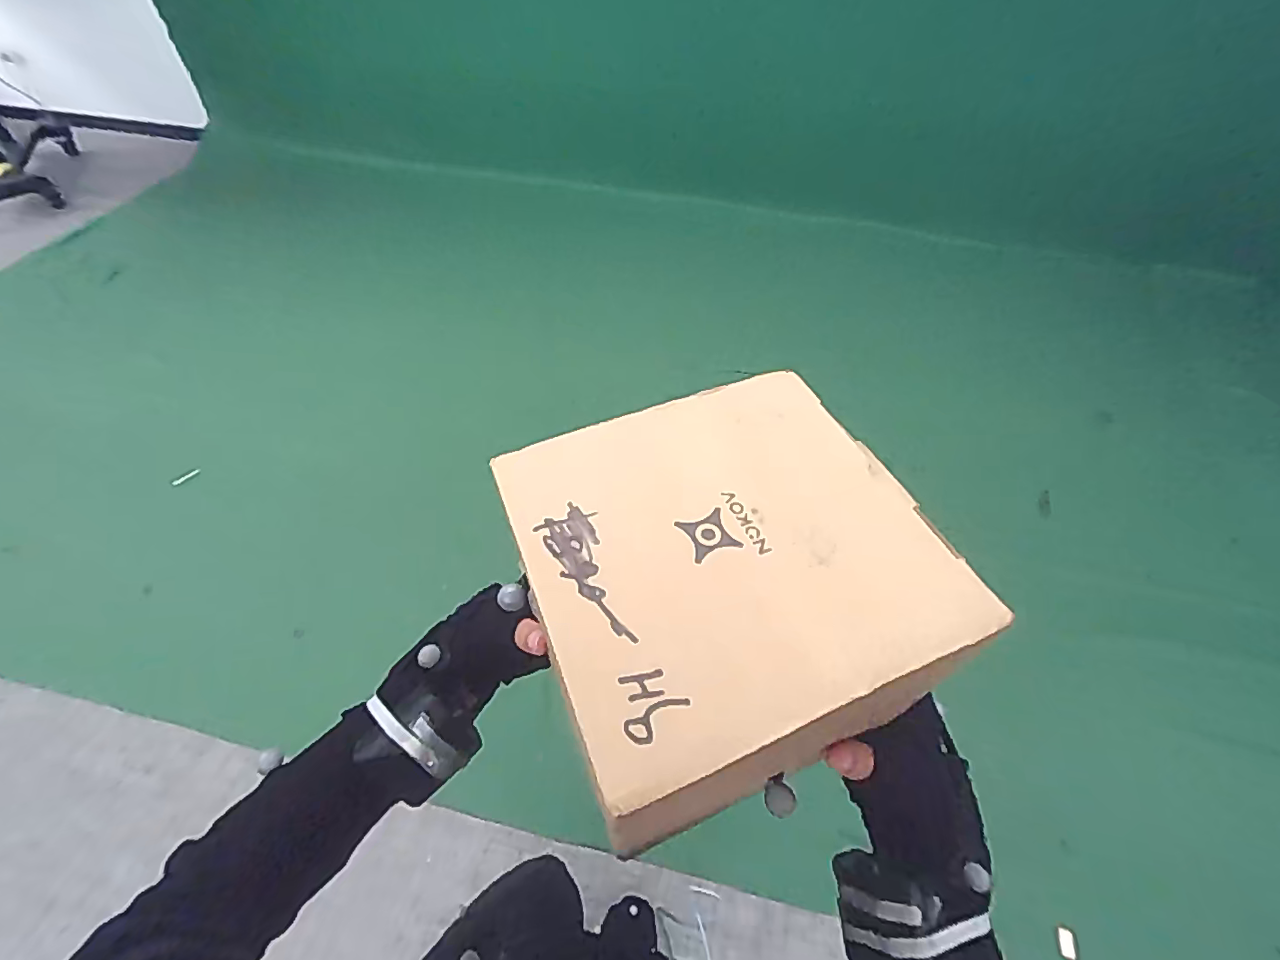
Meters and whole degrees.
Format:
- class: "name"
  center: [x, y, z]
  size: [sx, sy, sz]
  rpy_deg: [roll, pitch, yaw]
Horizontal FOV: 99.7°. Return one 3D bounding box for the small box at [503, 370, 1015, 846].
- class: "small box"
  center: [0.039, 0.070, 0.299]
  size: [0.179, 0.176, 0.168]
  rpy_deg: [-17, 53, -16]
